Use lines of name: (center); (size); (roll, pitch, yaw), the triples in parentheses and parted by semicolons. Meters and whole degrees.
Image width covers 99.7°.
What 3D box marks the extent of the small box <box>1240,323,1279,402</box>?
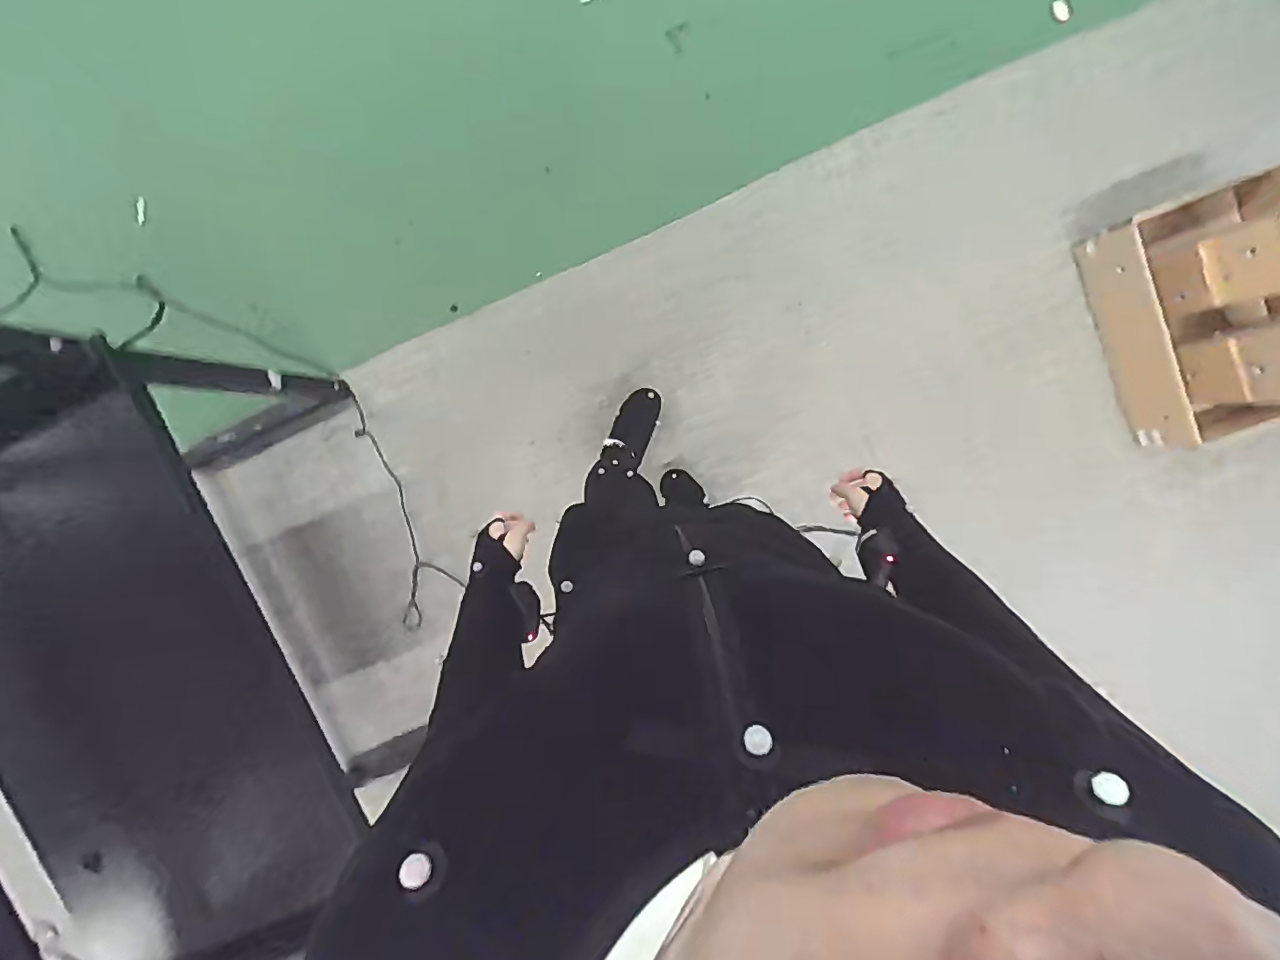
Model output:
small box: (1.544, -0.282, 1.227); (0.168, 0.176, 0.179); (-19, 94, 5)

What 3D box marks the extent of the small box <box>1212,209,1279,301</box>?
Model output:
small box: (1.458, -0.523, 1.214); (0.179, 0.176, 0.168); (-24, 95, 5)
